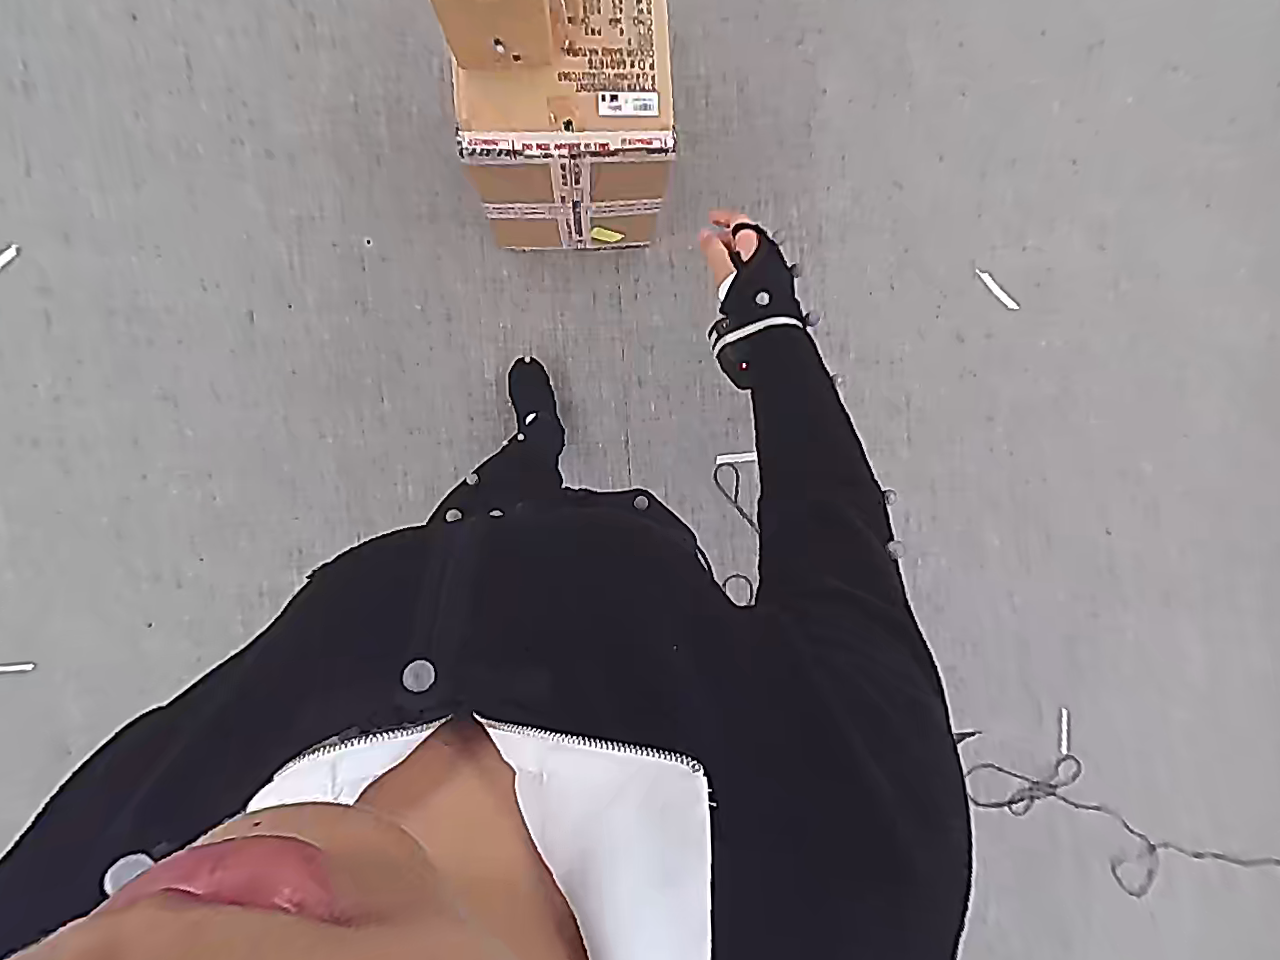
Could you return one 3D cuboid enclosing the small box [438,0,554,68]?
[{"bbox_3d":[-0.230,-0.799,0.853,0.168,0.176,0.179,-5,96,-2],"label":"small box"}]
